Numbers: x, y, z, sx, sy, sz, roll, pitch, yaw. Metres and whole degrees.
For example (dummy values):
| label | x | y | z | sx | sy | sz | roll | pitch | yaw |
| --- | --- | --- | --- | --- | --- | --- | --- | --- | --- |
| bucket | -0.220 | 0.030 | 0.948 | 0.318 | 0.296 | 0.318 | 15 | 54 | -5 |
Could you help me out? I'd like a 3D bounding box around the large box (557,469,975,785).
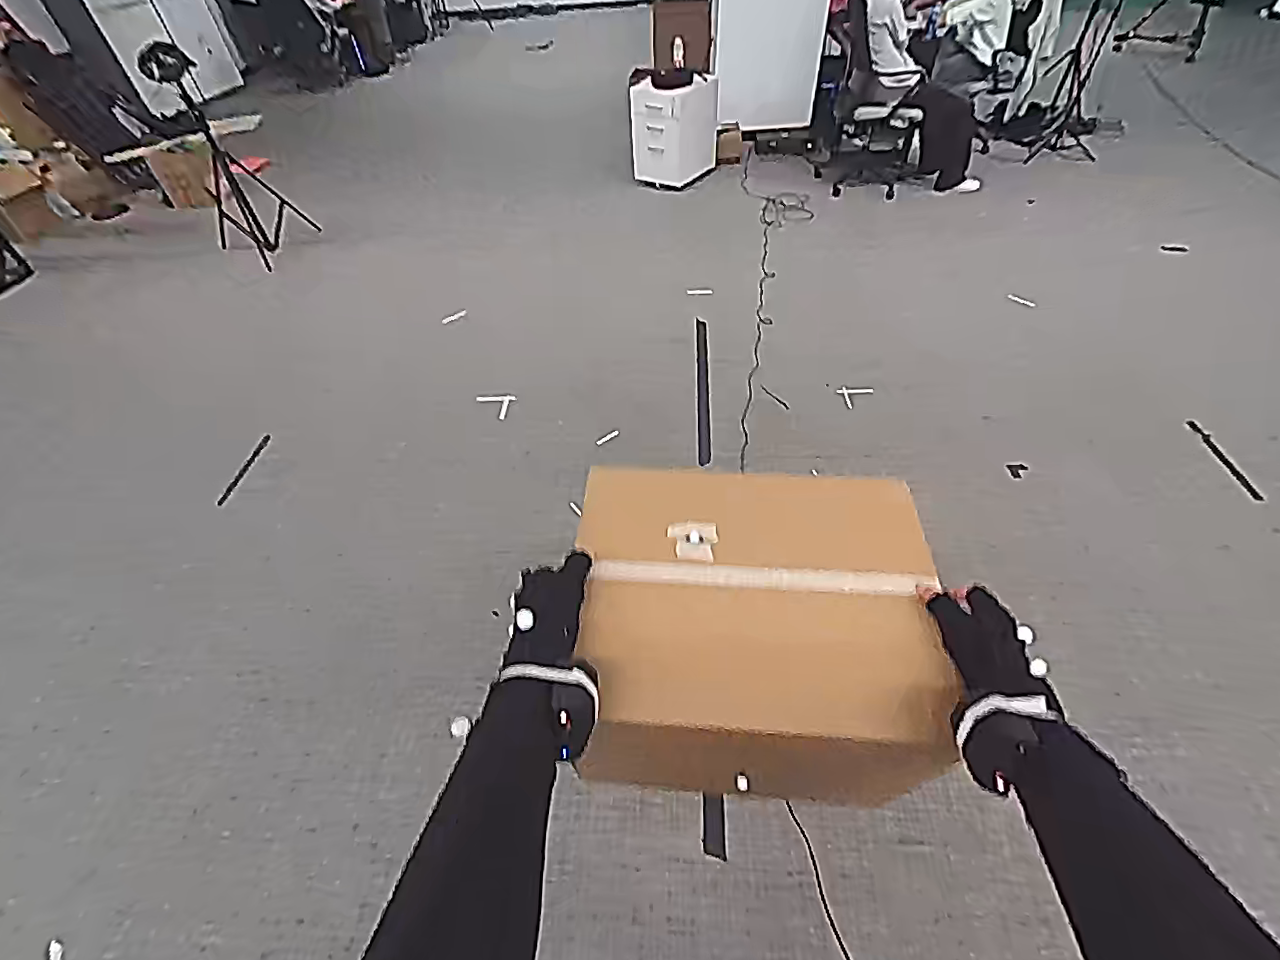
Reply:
| label | x | y | z | sx | sy | sz | roll | pitch | yaw |
| --- | --- | --- | --- | --- | --- | --- | --- | --- | --- |
| large box | 0.132 | 0.201 | 0.721 | 0.408 | 0.320 | 0.320 | 2 | 50 | 4 |
